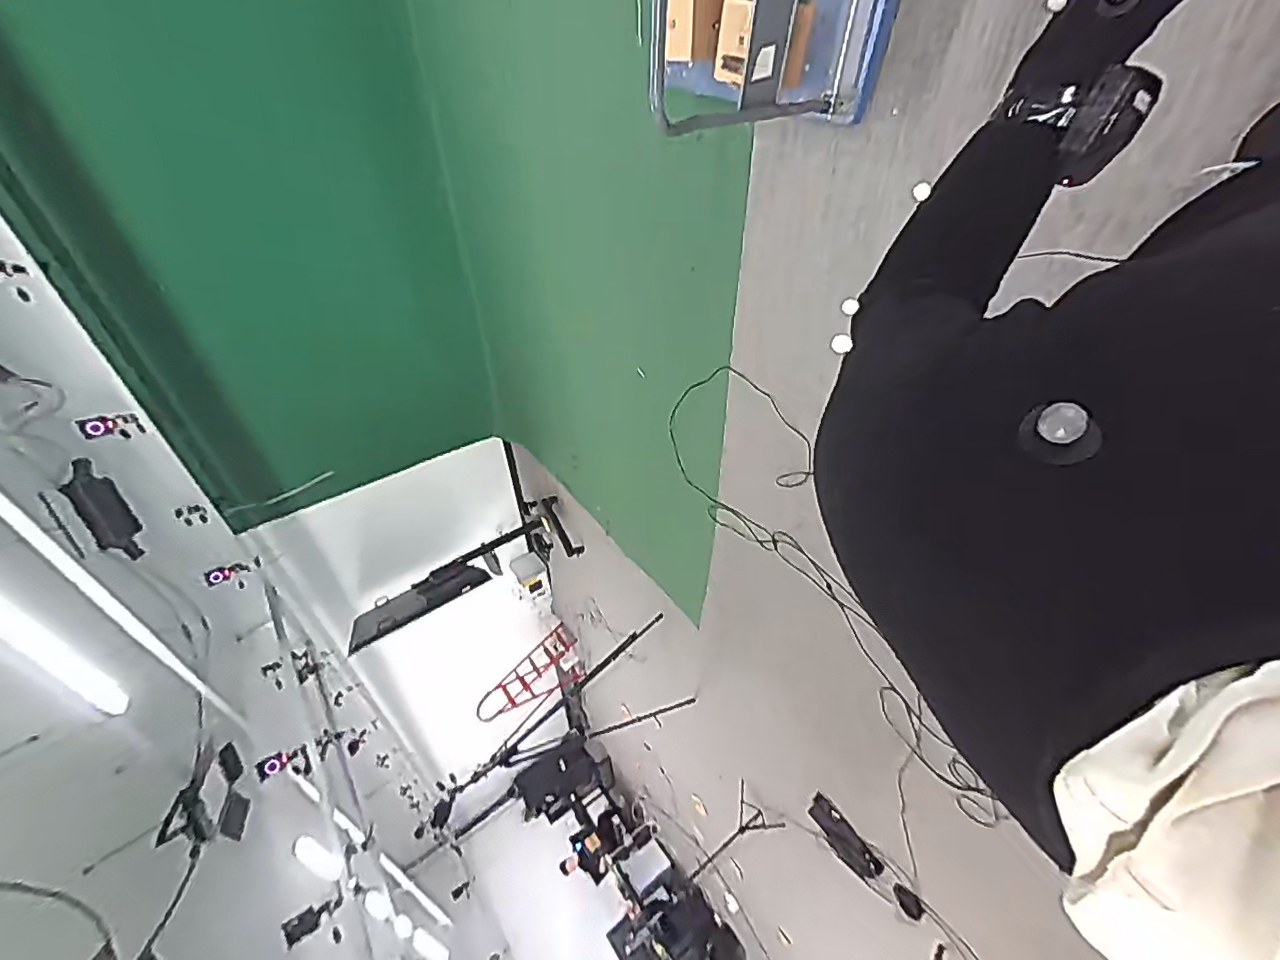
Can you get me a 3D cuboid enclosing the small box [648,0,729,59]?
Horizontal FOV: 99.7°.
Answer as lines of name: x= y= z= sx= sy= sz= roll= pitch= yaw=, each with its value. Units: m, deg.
small box: x=0.141 y=-1.336 z=1.570 sx=0.179 sy=0.176 sz=0.168 roll=40 pitch=144 yaw=37
